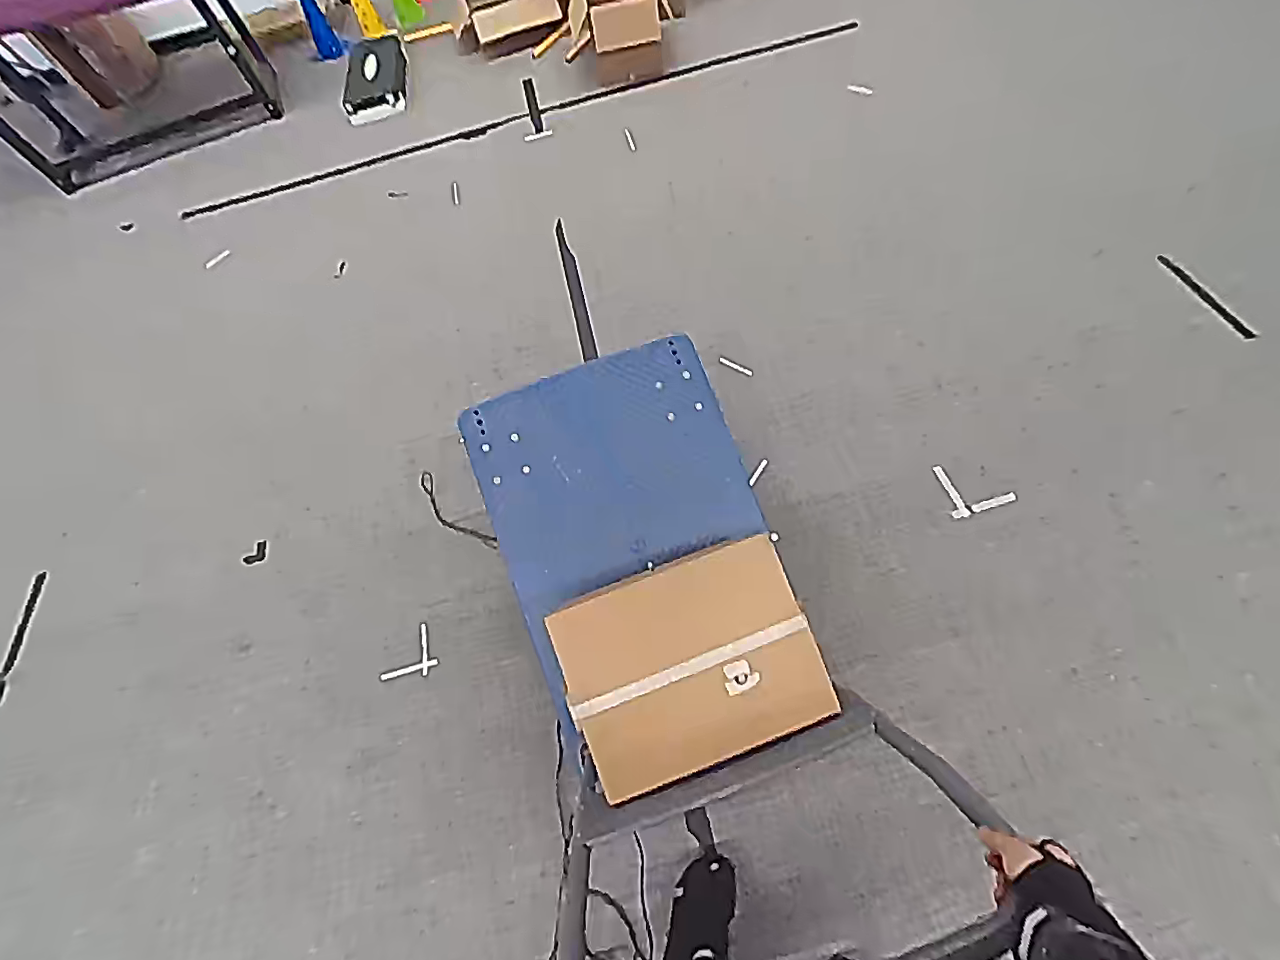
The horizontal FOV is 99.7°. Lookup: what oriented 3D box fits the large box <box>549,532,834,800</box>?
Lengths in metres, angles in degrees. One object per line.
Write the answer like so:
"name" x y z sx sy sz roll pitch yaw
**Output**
"large box" 0.080 0.323 1.042 0.408 0.320 0.320 -21 84 -5
